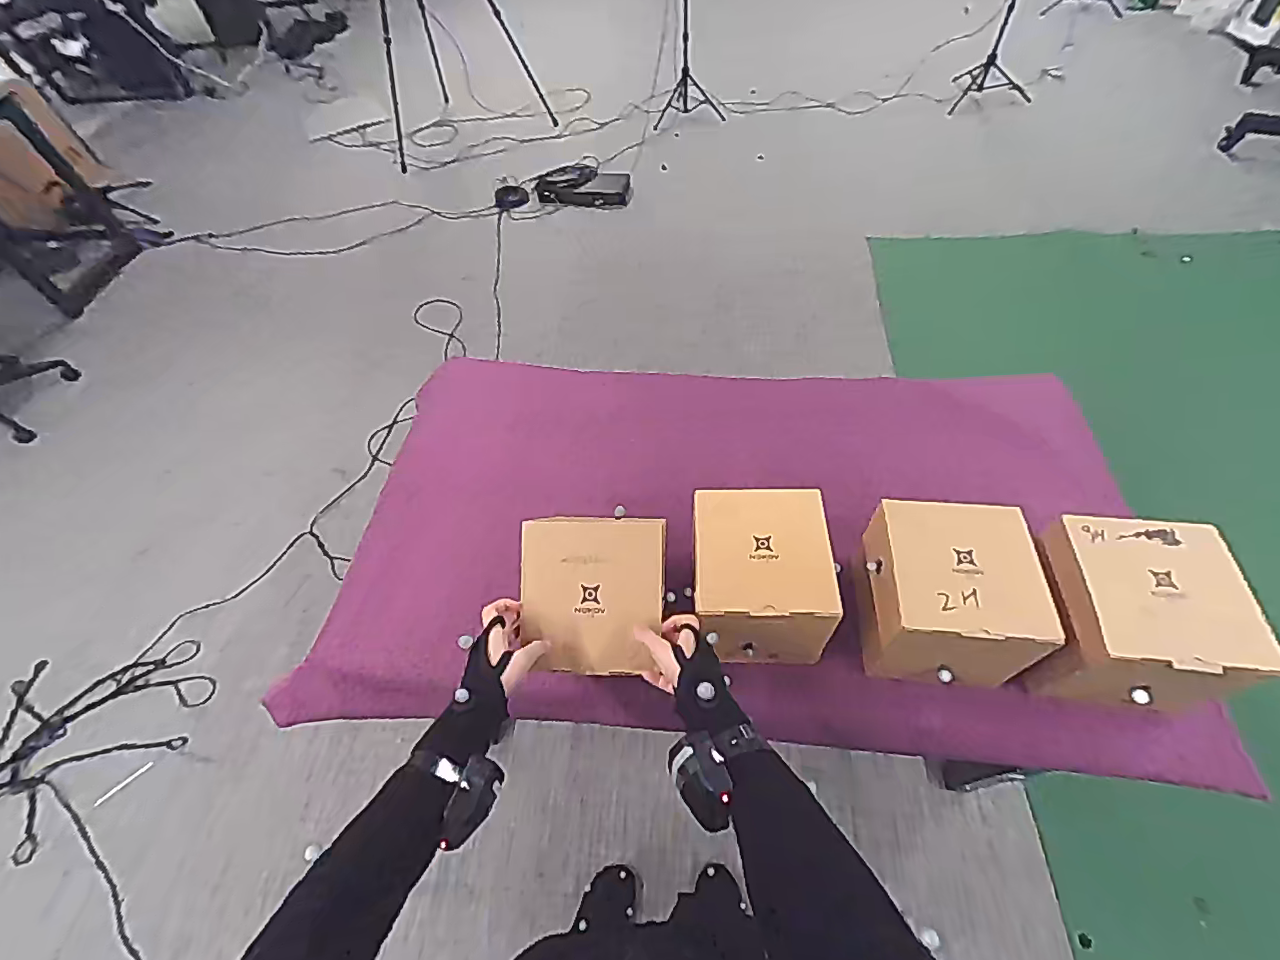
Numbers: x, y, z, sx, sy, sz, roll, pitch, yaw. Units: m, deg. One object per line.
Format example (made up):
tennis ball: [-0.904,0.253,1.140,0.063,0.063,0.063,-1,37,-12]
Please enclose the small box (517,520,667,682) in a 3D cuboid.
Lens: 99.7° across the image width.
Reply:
small box: [-0.051,0.143,0.697,0.168,0.176,0.179,0,87,5]
